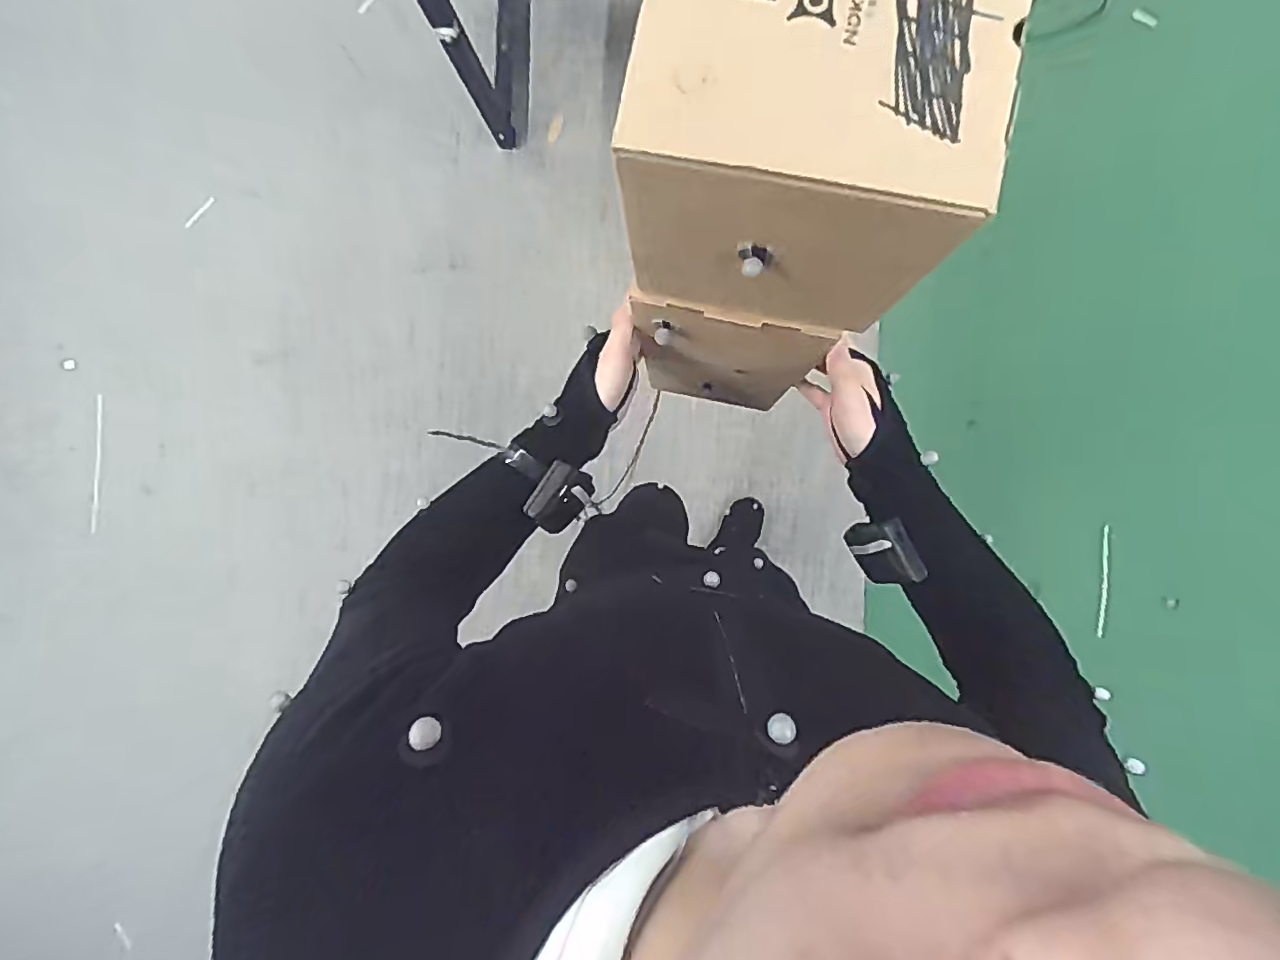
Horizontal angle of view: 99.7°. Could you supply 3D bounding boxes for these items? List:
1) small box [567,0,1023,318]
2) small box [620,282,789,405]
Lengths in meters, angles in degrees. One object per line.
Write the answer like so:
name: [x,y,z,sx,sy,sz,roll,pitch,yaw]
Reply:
small box: [0.076,-0.206,0.306,0.179,0.176,0.168,14,89,4]
small box: [0.082,-0.198,0.635,0.168,0.176,0.179,14,88,3]
